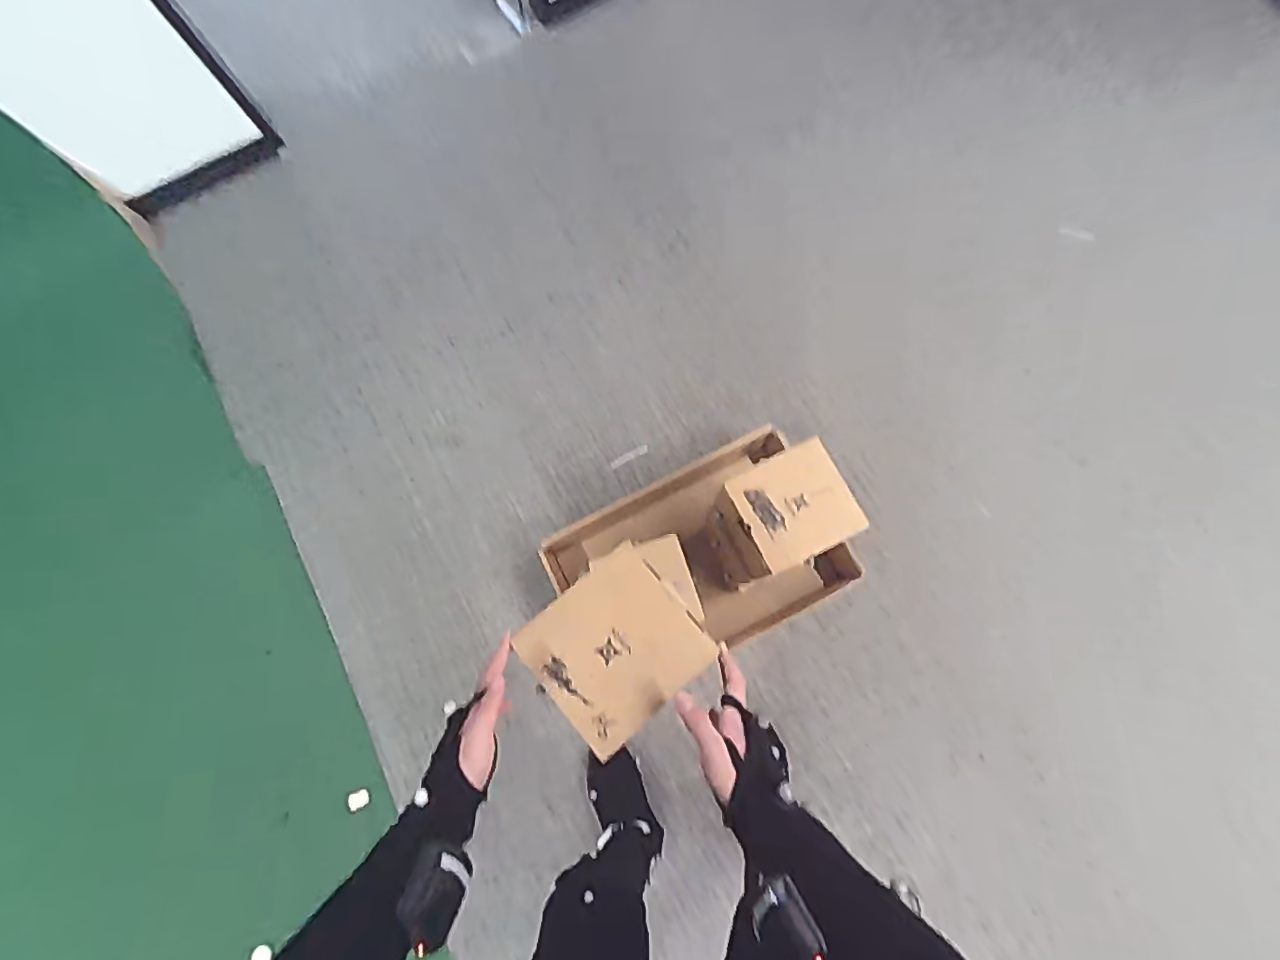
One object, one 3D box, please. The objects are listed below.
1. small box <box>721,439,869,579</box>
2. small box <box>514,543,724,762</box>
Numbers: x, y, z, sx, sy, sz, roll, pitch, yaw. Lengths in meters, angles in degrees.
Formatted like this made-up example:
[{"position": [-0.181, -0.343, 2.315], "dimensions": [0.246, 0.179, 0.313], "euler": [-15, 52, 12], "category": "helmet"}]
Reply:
[{"position": [0.249, 0.059, 0.924], "dimensions": [0.179, 0.176, 0.168], "euler": [-26, 77, -4], "category": "small box"}, {"position": [-0.024, 0.200, 0.669], "dimensions": [0.179, 0.176, 0.168], "euler": [-40, 80, -7], "category": "small box"}]
